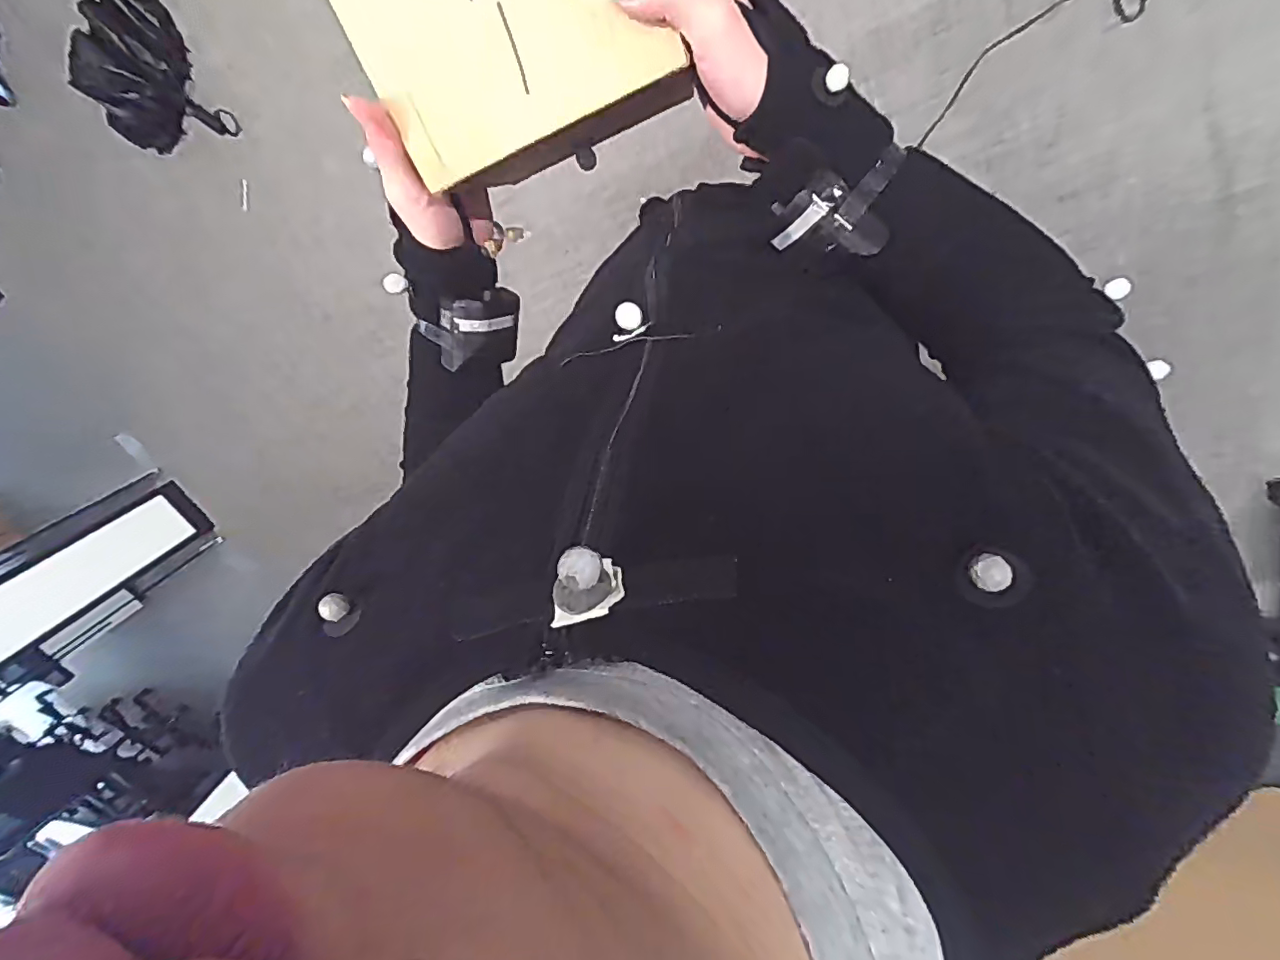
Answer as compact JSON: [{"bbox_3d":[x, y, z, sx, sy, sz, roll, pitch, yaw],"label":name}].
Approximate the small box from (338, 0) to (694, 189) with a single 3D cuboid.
[{"bbox_3d":[-0.070,-0.304,0.335,0.168,0.176,0.179,-16,117,16],"label":"small box"}]
